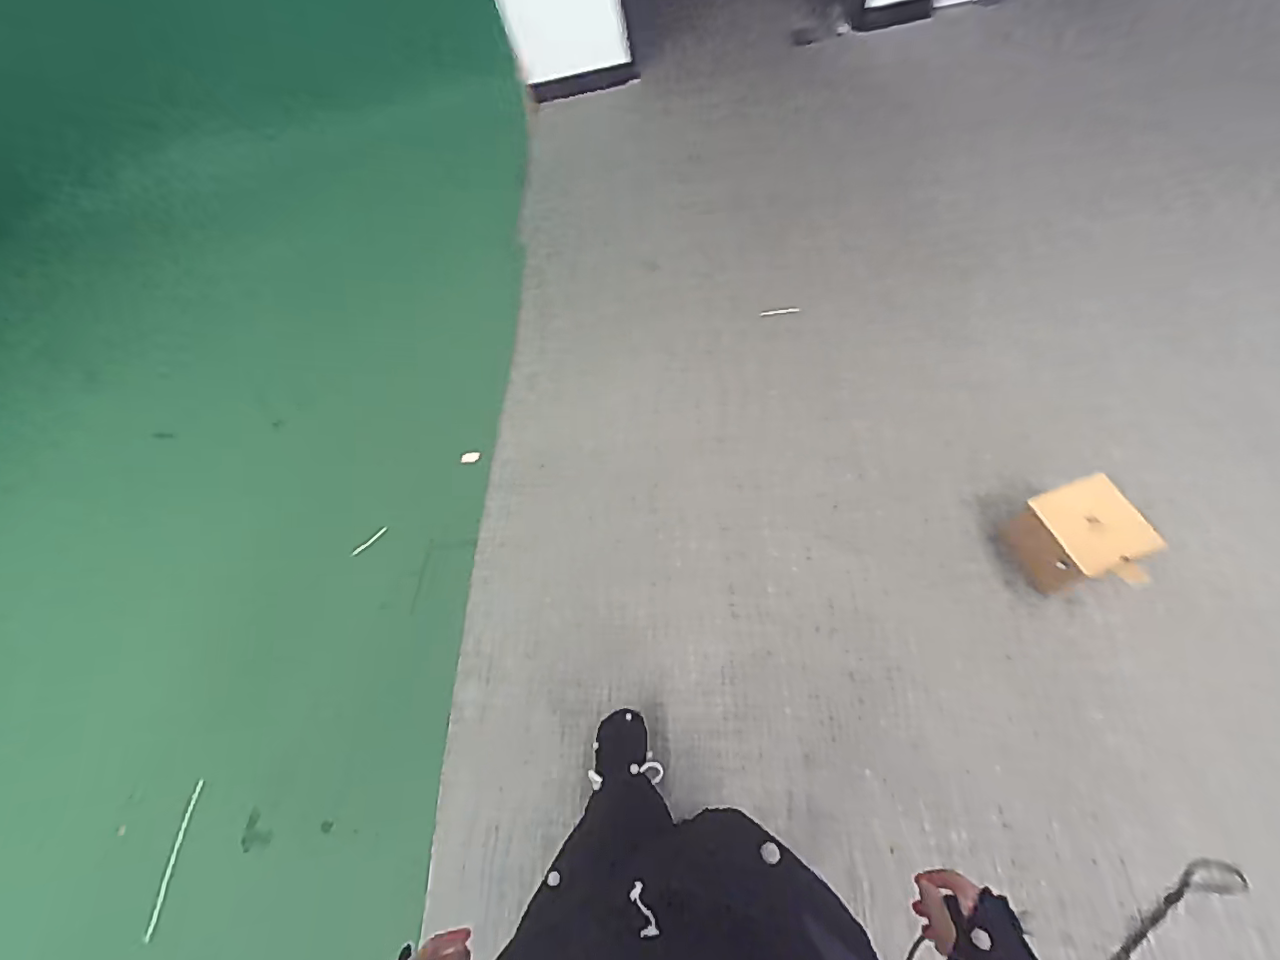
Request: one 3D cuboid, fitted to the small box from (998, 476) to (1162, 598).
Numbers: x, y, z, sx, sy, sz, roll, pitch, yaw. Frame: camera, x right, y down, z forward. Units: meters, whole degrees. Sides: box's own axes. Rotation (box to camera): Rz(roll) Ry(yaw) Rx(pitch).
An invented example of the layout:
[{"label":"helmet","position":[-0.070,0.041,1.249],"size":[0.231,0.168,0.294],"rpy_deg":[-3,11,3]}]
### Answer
[{"label":"small box","position":[0.905,0.124,1.137],"size":[0.168,0.176,0.179],"rpy_deg":[-22,62,0]}]
